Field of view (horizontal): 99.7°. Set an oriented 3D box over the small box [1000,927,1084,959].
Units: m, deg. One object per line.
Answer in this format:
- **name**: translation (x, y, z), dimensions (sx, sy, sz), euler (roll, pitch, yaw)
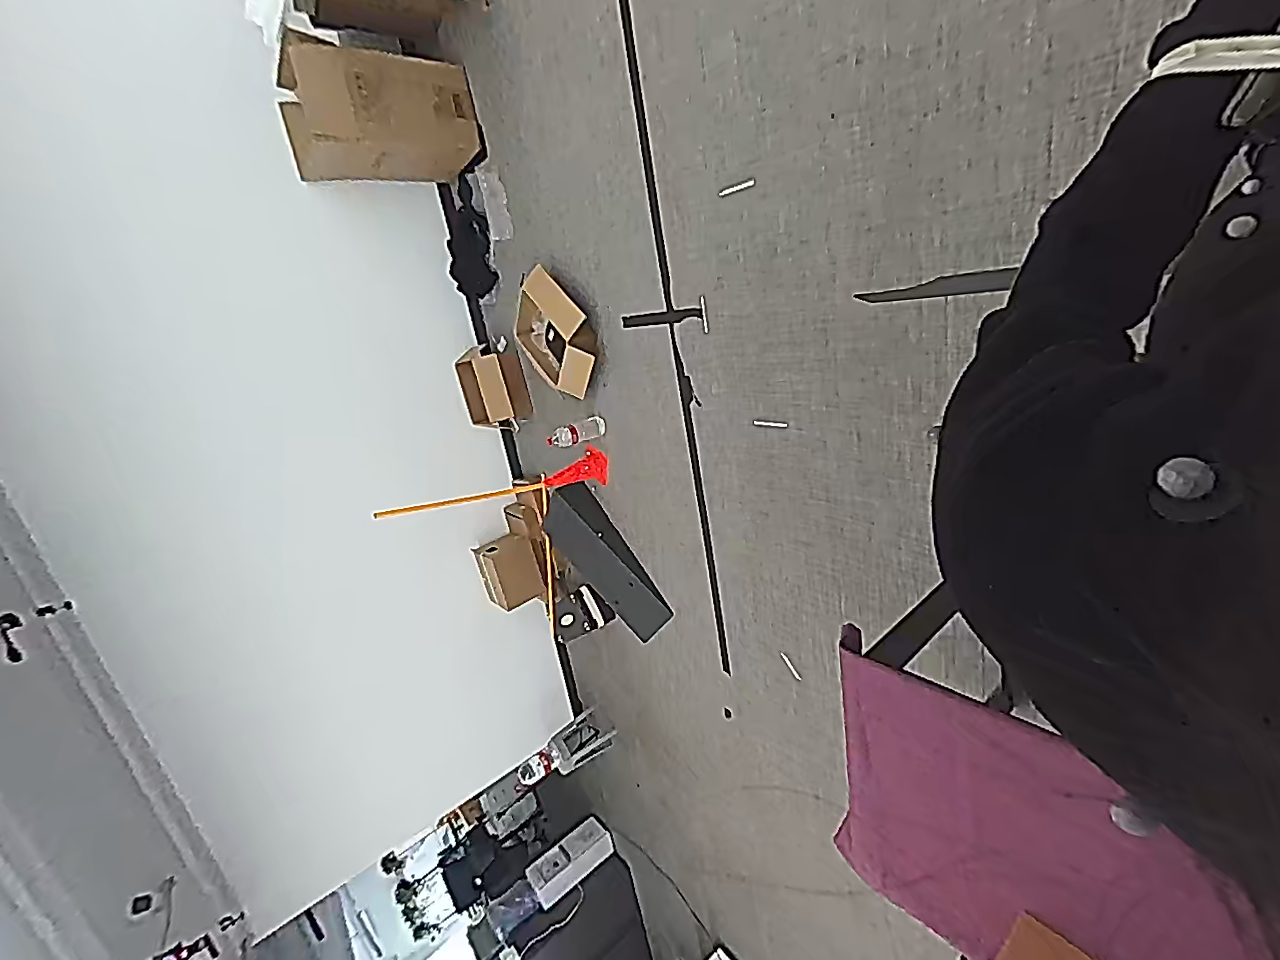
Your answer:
- **small box**: translation (0.663, 0.870, 0.857), dimensions (0.179, 0.176, 0.168), euler (18, 122, 49)
